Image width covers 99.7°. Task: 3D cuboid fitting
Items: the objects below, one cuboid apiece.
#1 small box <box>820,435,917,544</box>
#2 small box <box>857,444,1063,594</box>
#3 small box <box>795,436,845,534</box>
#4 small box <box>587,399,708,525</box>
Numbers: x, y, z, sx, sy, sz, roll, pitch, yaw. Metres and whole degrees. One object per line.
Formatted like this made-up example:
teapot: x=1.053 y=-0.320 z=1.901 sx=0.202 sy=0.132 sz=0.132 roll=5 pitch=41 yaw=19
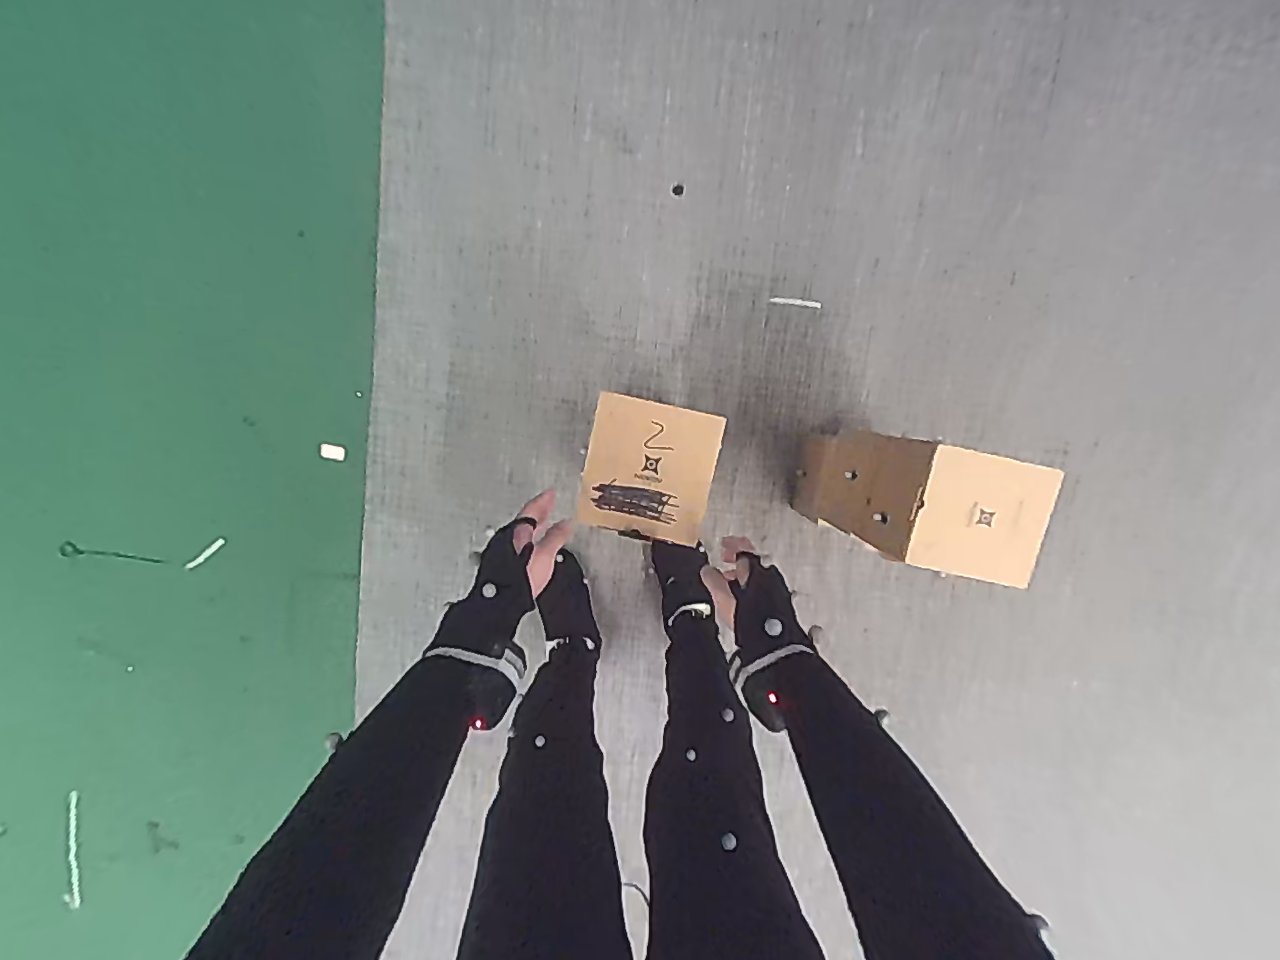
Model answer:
small box: x=0.436 y=0.023 z=0.947 sx=0.168 sy=0.176 sz=0.179 roll=13 pitch=97 yaw=-1
small box: x=0.445 y=0.045 z=0.784 sx=0.179 sy=0.176 sz=0.168 roll=13 pitch=98 yaw=-3
small box: x=0.432 y=0.011 z=1.110 sx=0.168 sy=0.176 sz=0.179 roll=8 pitch=98 yaw=-3
small box: x=0.008 y=-0.037 z=0.935 sx=0.168 sy=0.176 sz=0.179 roll=11 pitch=97 yaw=-3
